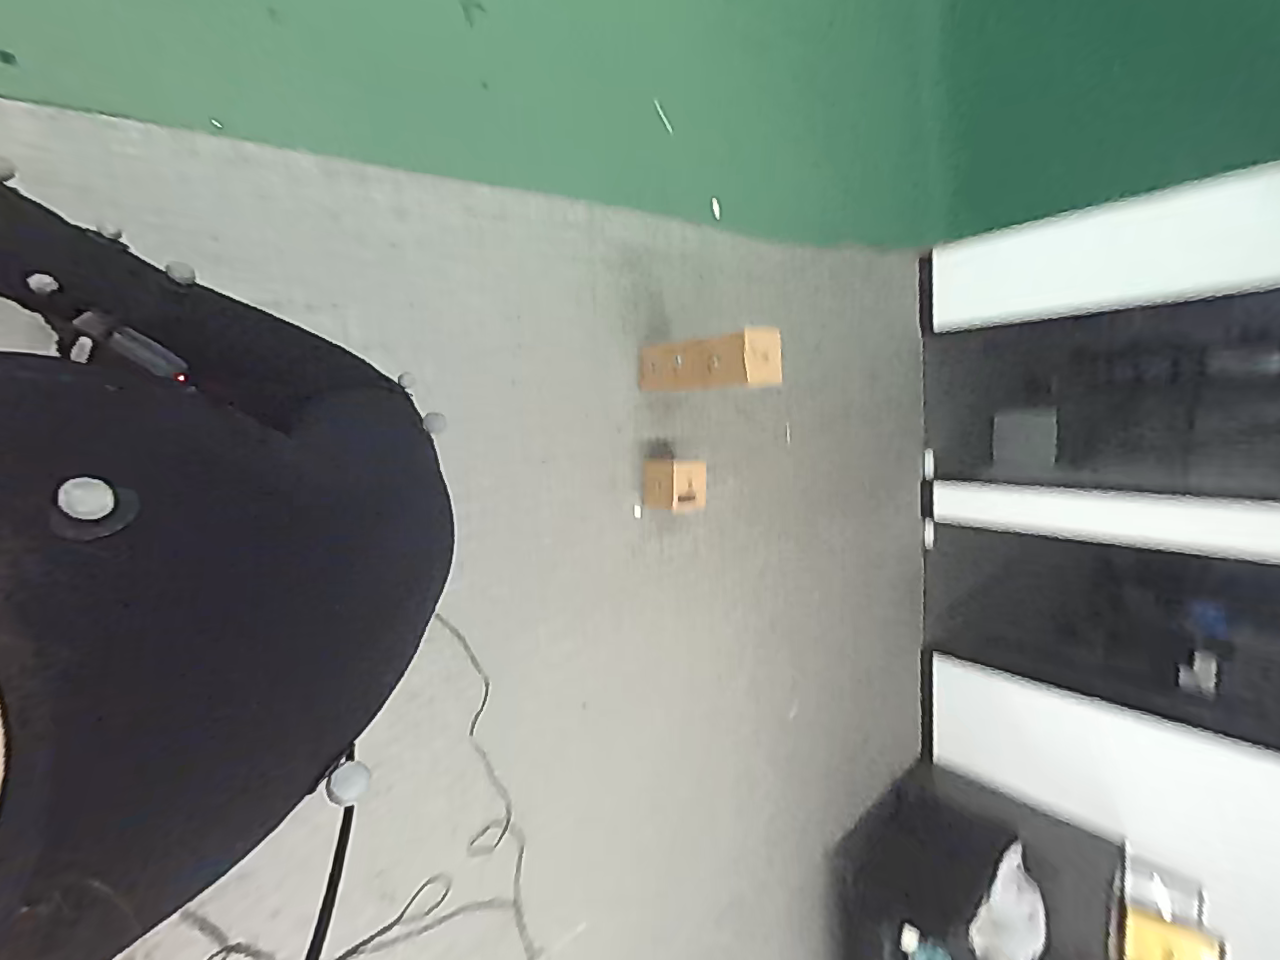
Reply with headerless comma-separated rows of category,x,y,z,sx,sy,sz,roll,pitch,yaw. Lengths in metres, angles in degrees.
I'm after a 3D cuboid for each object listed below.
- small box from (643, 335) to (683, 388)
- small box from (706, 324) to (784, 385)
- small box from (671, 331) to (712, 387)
small box,0.121,-0.417,1.931,0.179,0.176,0.168,-7,99,-39
small box,0.327,-0.386,1.678,0.179,0.176,0.168,-11,100,-39
small box,0.224,-0.401,1.806,0.179,0.176,0.168,-11,100,-38
